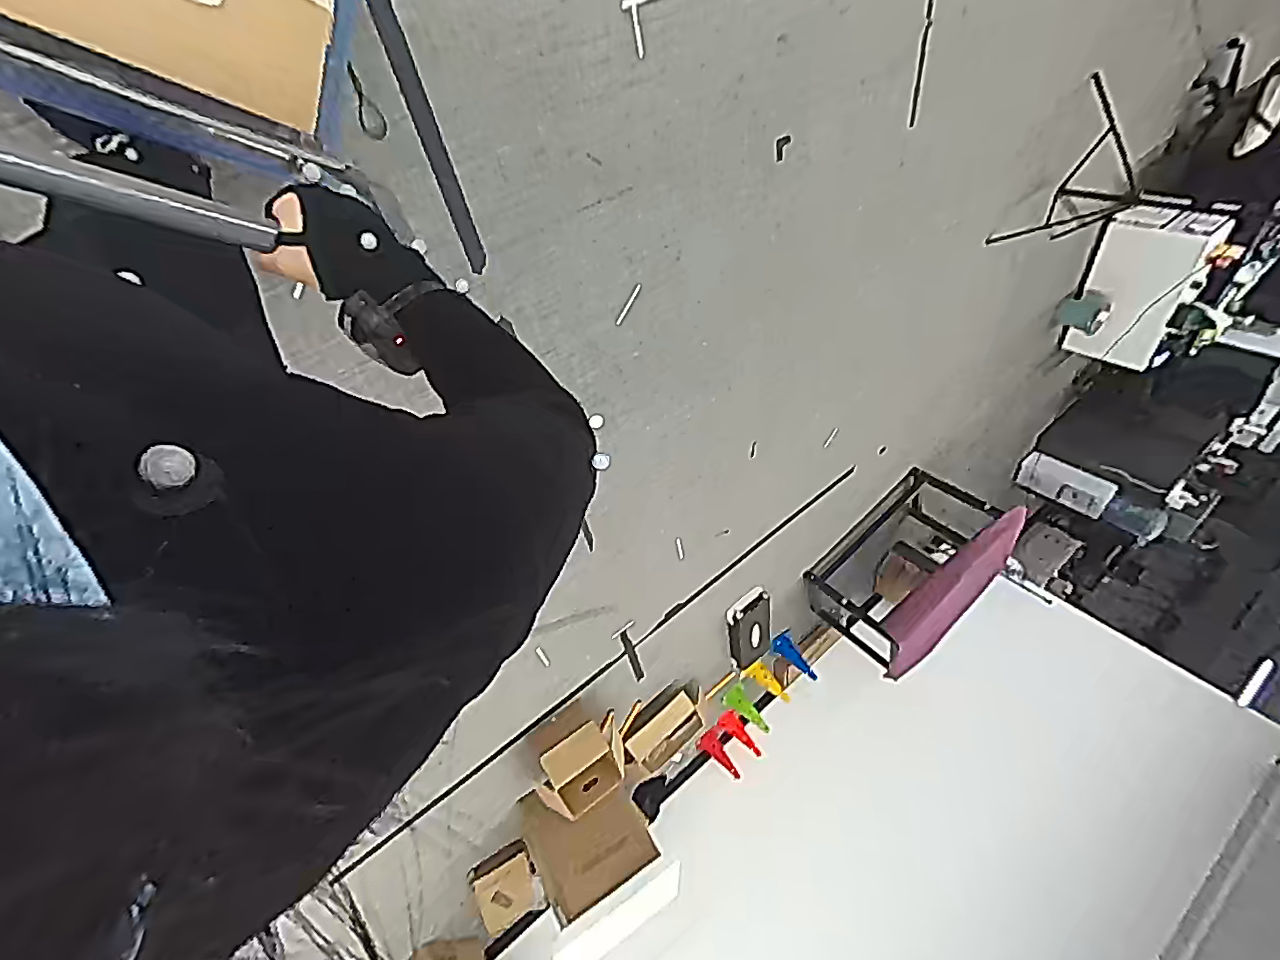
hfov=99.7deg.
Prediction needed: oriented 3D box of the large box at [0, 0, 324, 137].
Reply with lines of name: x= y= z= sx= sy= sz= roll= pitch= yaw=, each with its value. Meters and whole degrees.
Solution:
large box: x=-0.628 y=-0.663 z=0.631 sx=0.408 sy=0.320 sz=0.320 roll=1 pitch=119 yaw=-44
